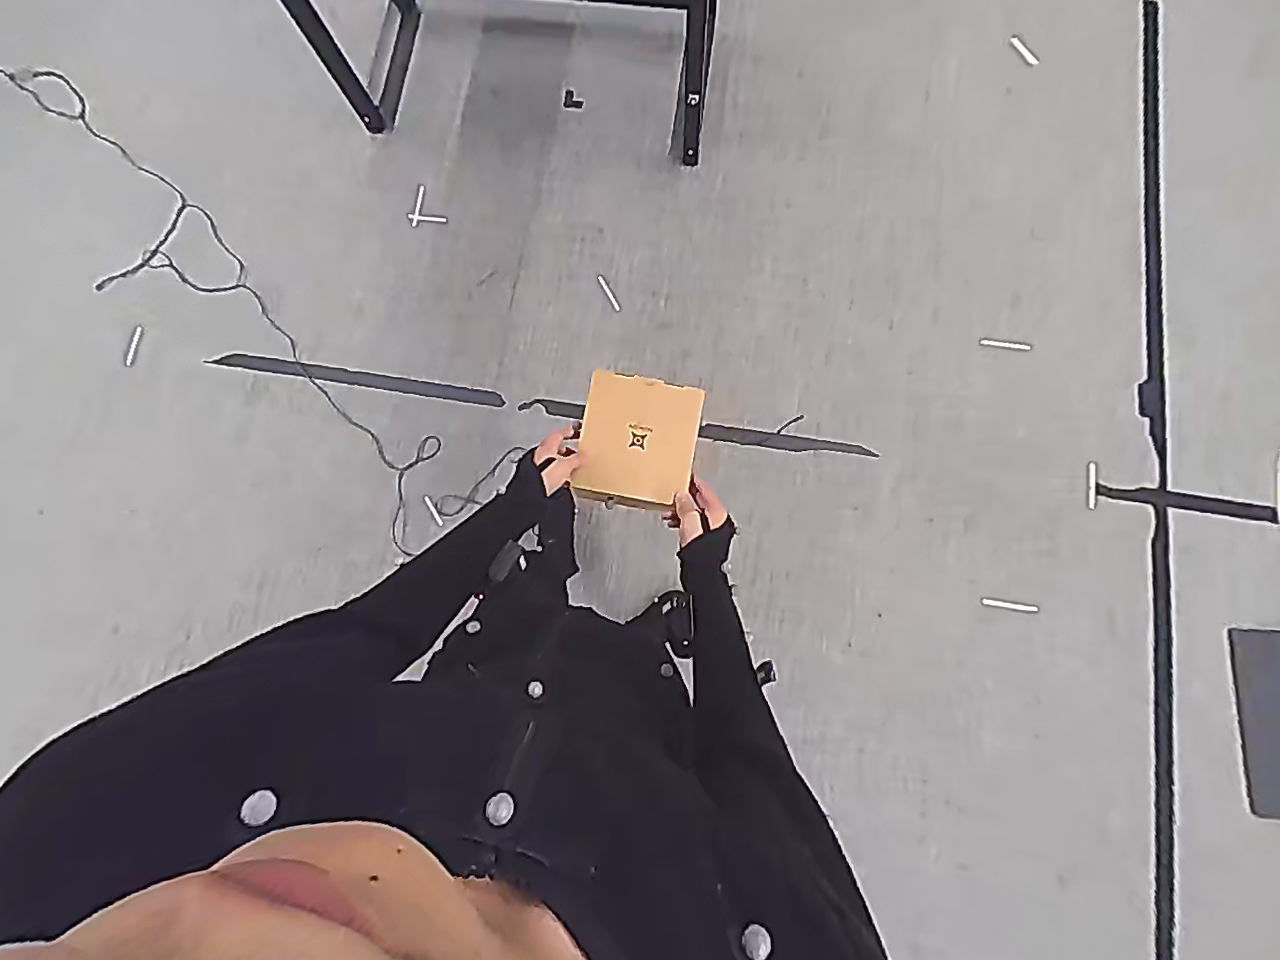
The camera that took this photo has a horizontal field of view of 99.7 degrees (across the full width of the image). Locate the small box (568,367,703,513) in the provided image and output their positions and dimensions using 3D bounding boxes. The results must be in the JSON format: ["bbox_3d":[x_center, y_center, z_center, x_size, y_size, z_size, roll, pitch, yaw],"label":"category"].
[{"bbox_3d":[-0.009,-0.050,0.826,0.168,0.176,0.179,10,81,-3],"label":"small box"}]
